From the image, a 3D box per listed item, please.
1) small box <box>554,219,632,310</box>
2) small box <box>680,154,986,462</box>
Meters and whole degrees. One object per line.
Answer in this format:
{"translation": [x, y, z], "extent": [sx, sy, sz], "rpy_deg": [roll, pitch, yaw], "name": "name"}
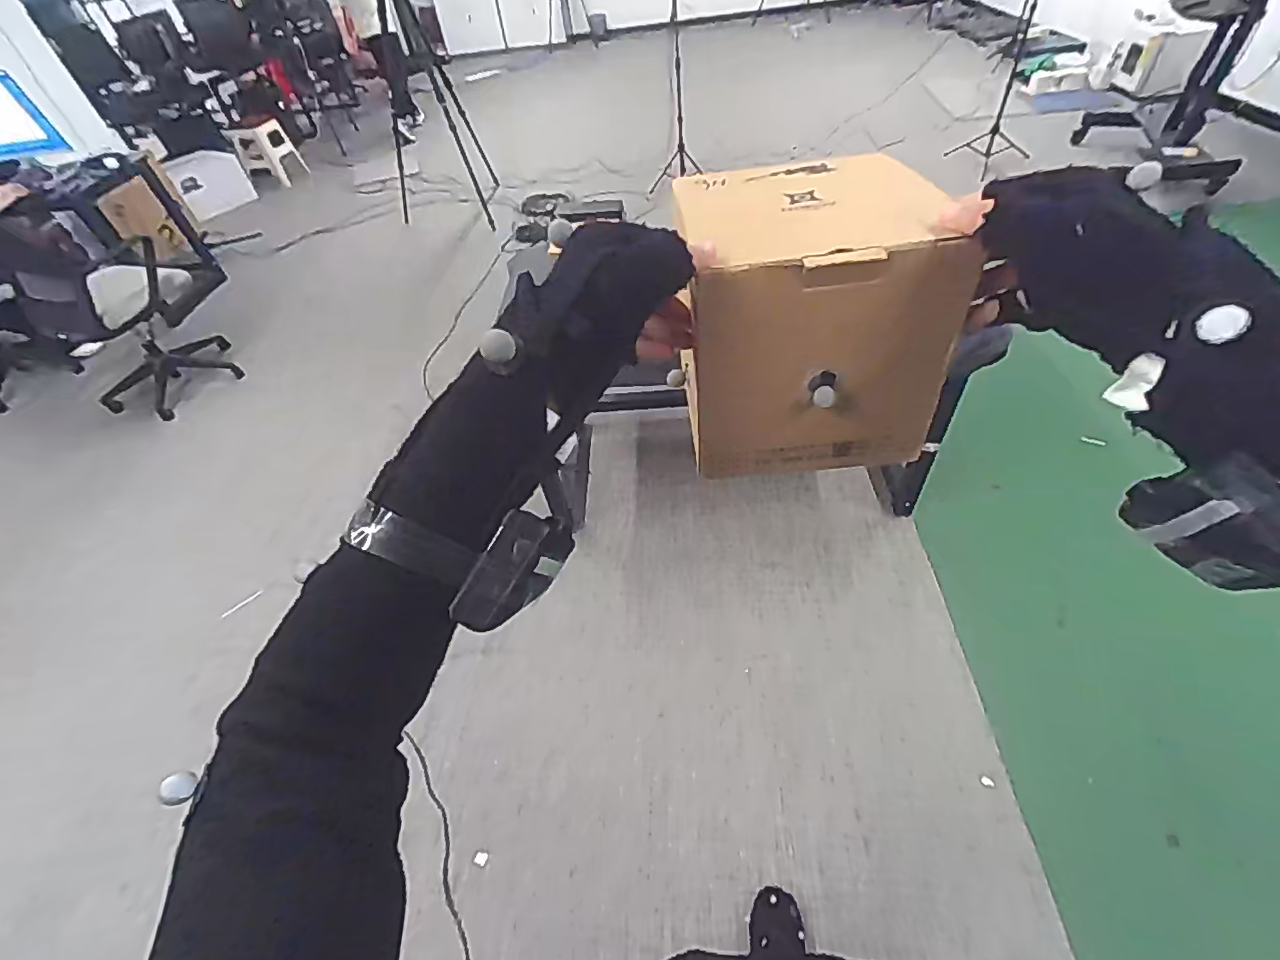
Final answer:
{"translation": [-0.117, -0.560, 1.415], "extent": [0.179, 0.176, 0.168], "rpy_deg": [-4, 48, 3], "name": "small box"}
{"translation": [0.122, -0.126, 0.420], "extent": [0.168, 0.176, 0.179], "rpy_deg": [-5, 45, 3], "name": "small box"}
